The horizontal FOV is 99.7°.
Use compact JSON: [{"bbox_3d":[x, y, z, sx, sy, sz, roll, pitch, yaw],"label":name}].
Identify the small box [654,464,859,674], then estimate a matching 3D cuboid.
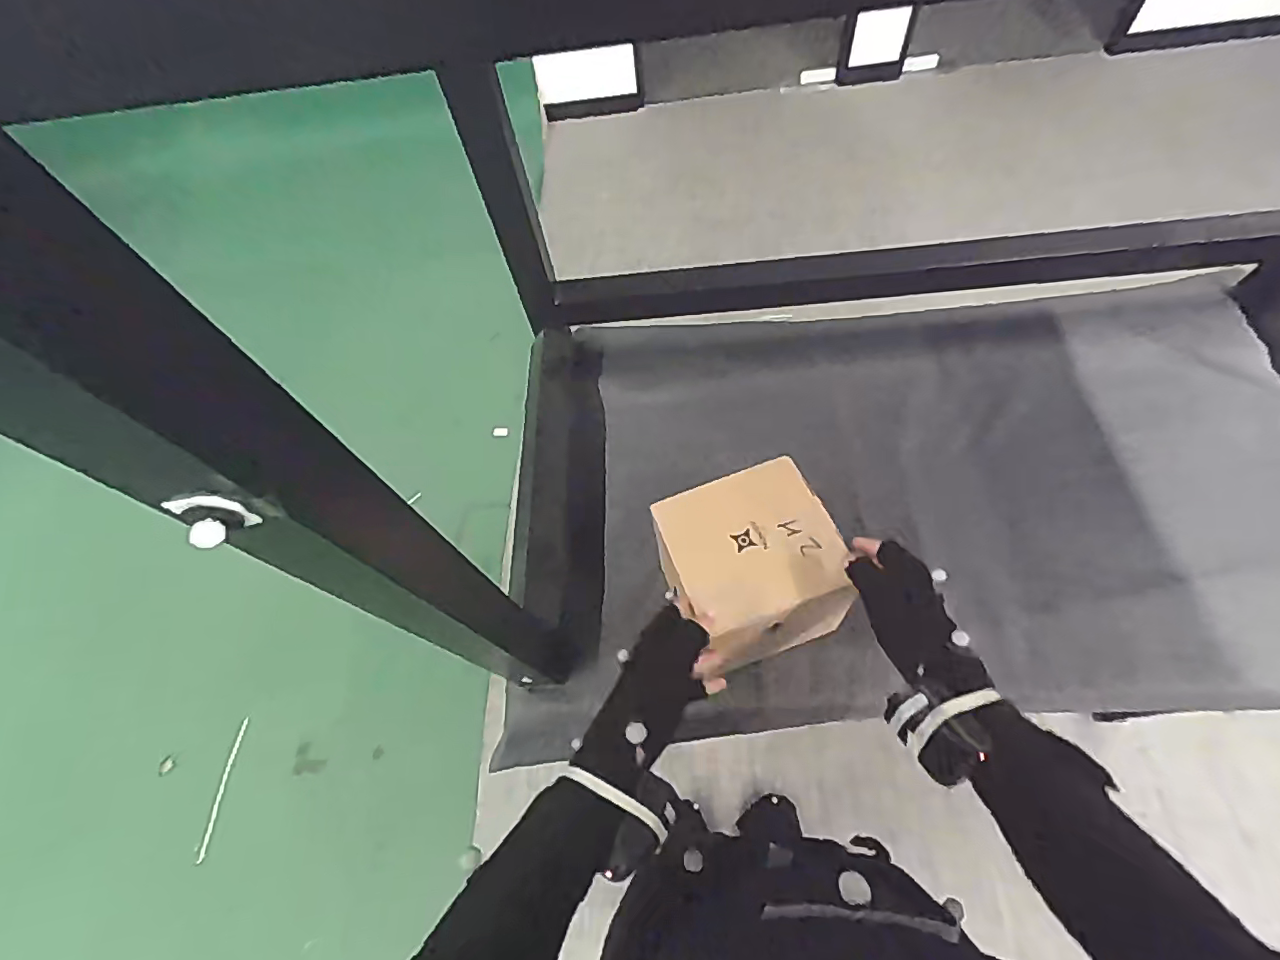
[{"bbox_3d":[0.127,0.112,0.642,0.179,0.176,0.168,-16,57,-3],"label":"small box"}]
